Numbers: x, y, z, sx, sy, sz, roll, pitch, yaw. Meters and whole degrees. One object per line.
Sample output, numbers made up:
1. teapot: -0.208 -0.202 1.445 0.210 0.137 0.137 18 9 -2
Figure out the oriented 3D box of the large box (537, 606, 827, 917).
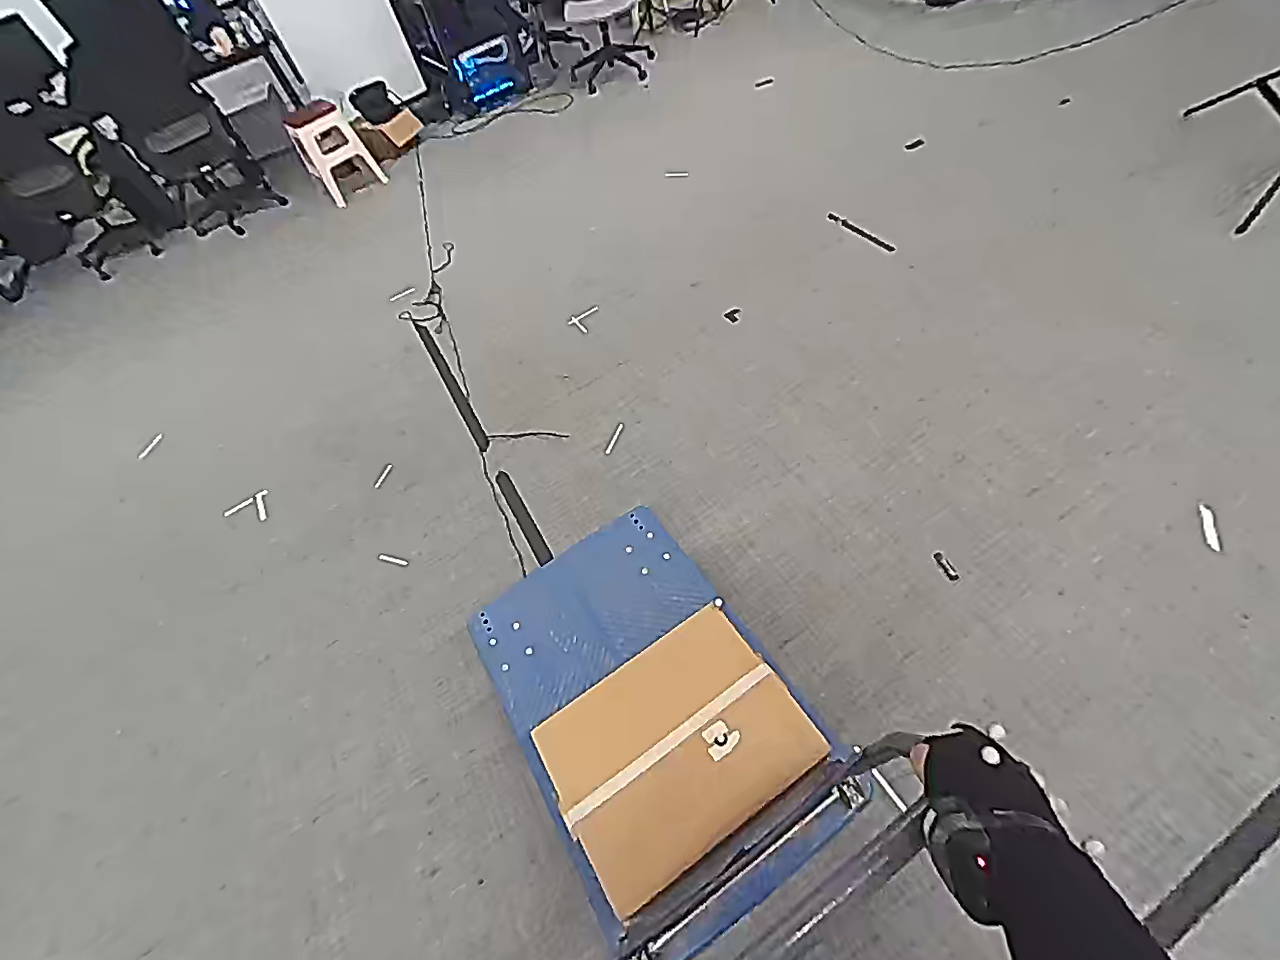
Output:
1. large box: 0.085 0.525 1.024 0.408 0.320 0.320 -33 55 -12
